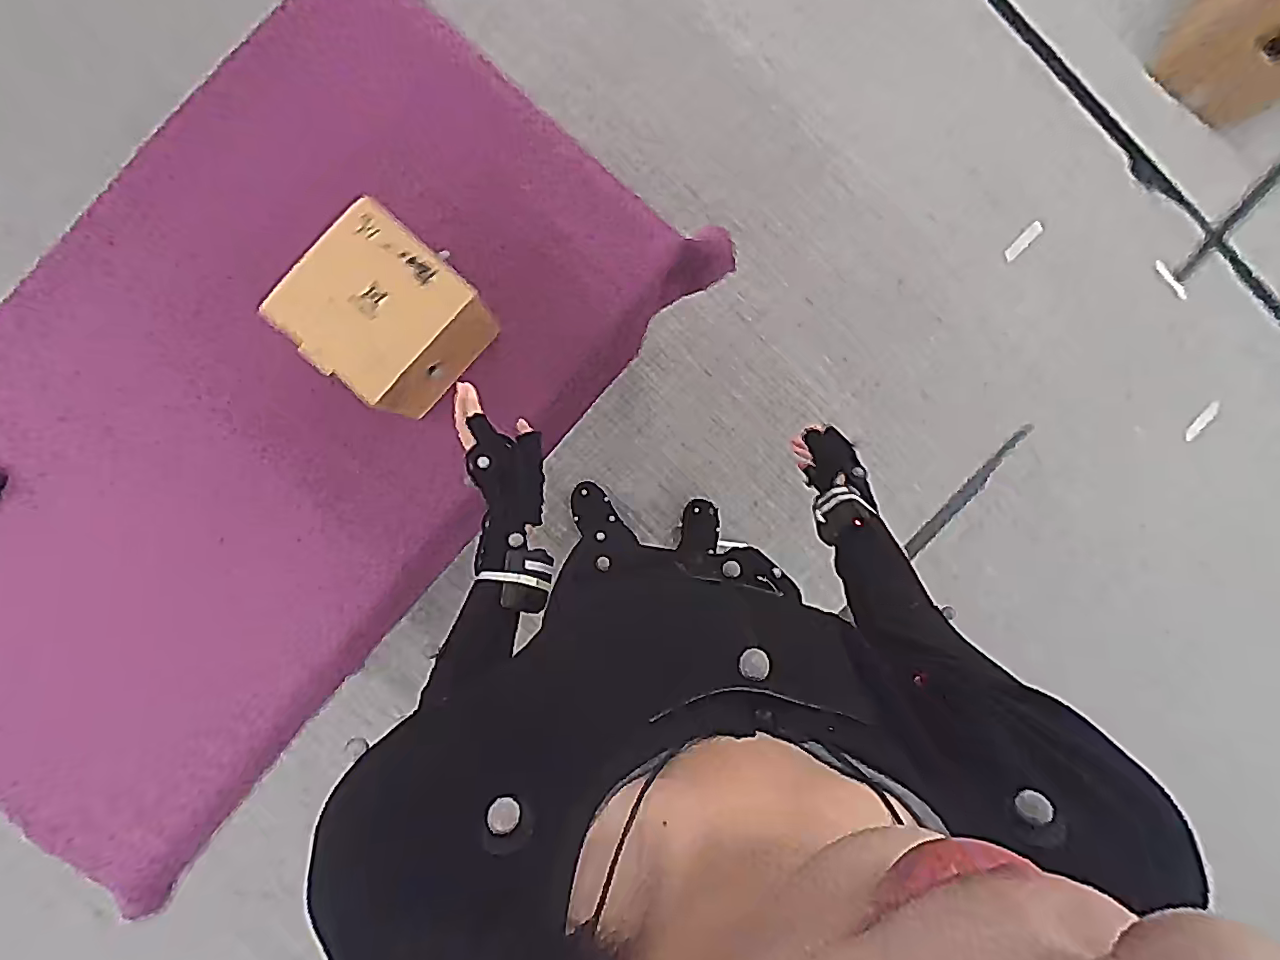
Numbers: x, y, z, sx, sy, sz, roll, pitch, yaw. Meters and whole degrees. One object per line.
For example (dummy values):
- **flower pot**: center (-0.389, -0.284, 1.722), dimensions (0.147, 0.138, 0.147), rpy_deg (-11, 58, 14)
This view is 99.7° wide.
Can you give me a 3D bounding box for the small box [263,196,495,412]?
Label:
- **small box**: center (-0.308, -0.203, 0.684), dimensions (0.168, 0.176, 0.179), rpy_deg (41, 89, -4)
